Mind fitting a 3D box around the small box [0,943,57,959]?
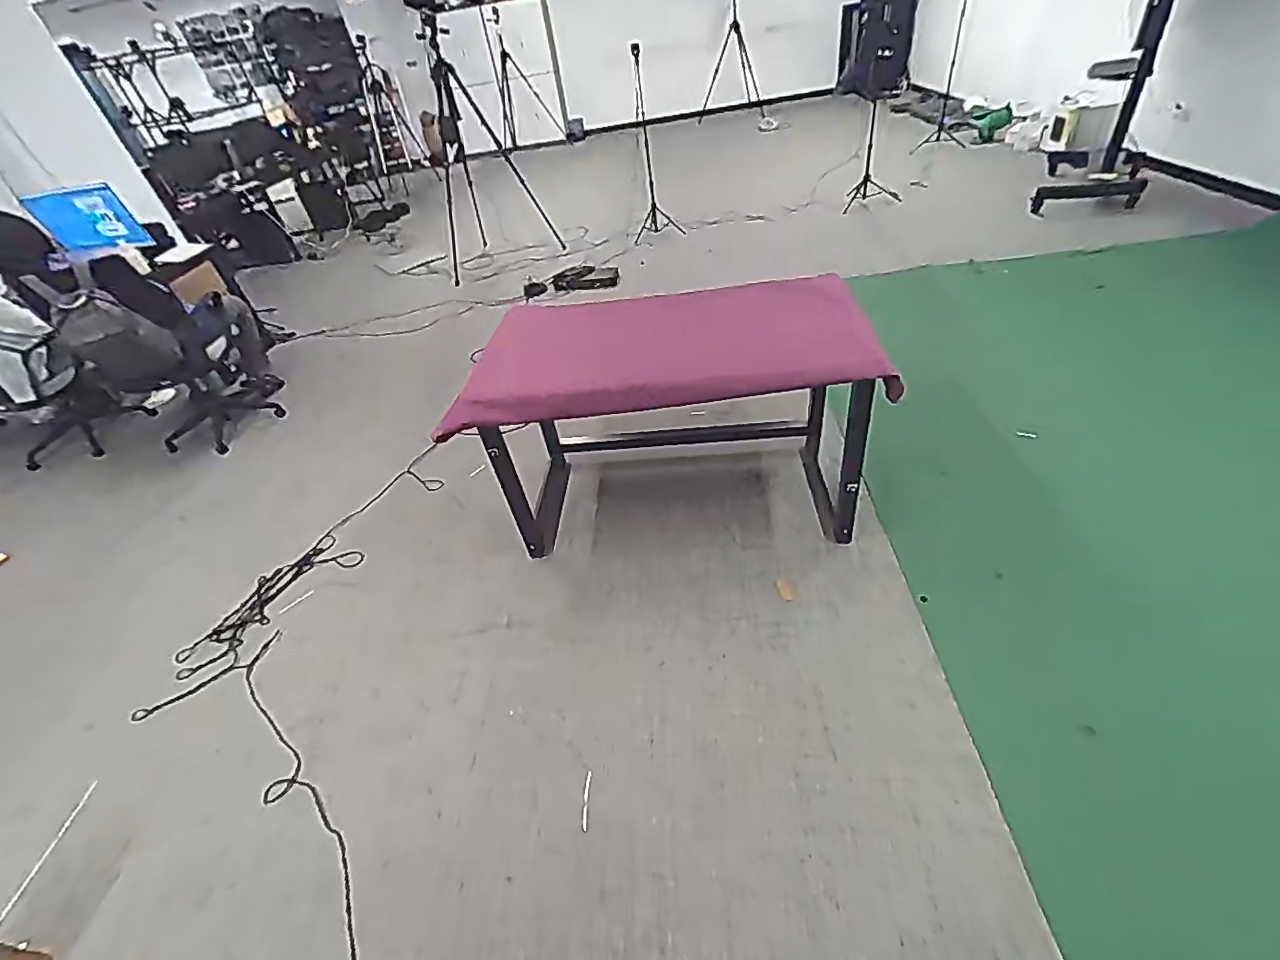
[{"bbox_3d":[-1.503,1.167,1.214,0.168,0.176,0.179,-6,40,6],"label":"small box"}]
